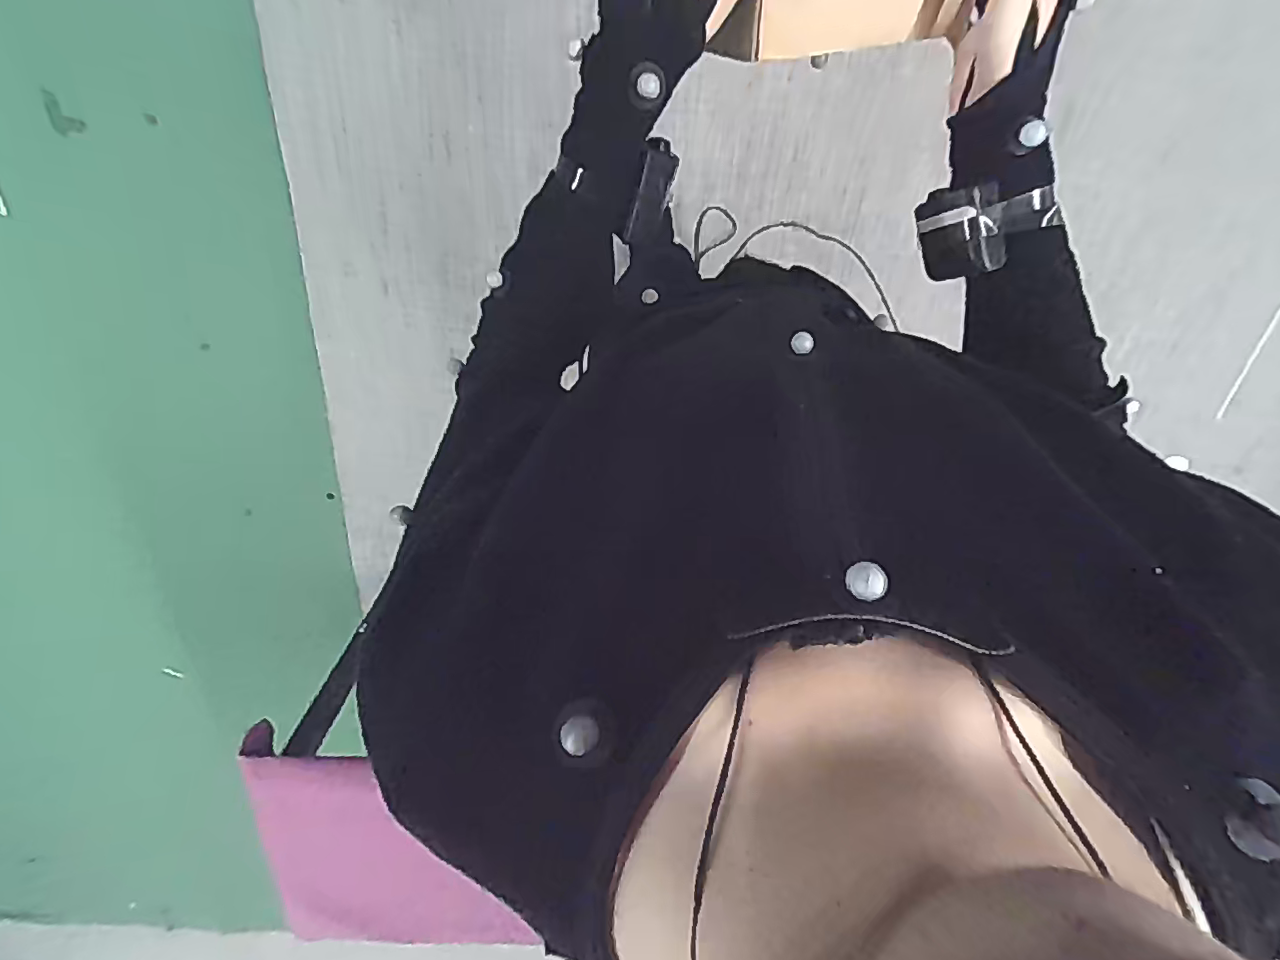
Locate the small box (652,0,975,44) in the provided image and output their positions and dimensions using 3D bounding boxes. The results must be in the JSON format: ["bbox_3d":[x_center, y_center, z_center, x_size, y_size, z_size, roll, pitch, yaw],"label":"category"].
[{"bbox_3d":[0.112,-0.396,0.343,0.179,0.176,0.168,-18,139,-15],"label":"small box"}]
